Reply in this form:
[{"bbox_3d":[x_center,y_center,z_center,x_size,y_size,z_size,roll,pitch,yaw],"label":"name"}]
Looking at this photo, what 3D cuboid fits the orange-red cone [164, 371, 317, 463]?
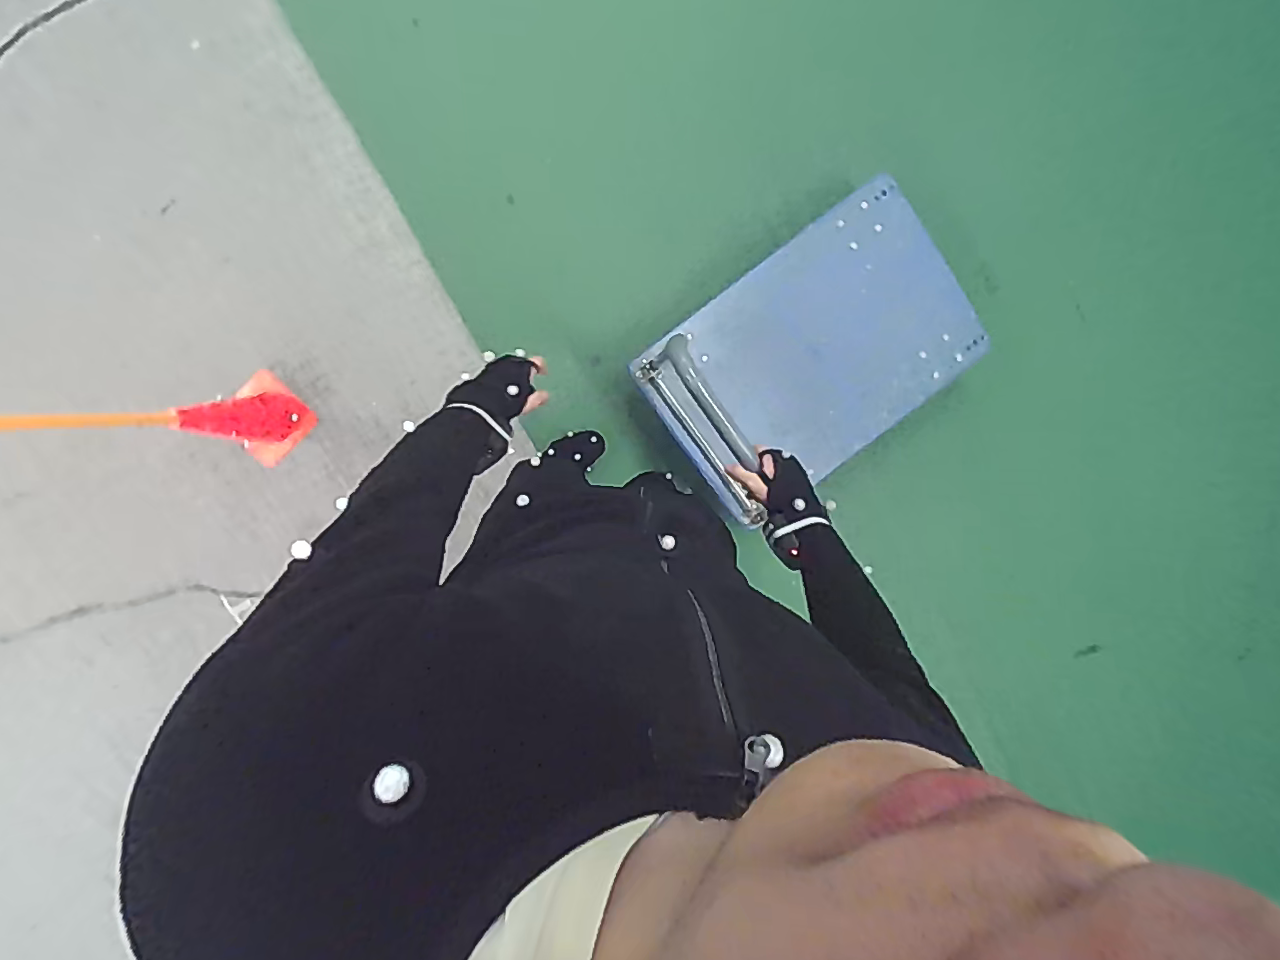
[{"bbox_3d":[-1.013,-0.157,1.327,0.198,0.360,0.199,-44,97,0],"label":"orange-red cone"}]
